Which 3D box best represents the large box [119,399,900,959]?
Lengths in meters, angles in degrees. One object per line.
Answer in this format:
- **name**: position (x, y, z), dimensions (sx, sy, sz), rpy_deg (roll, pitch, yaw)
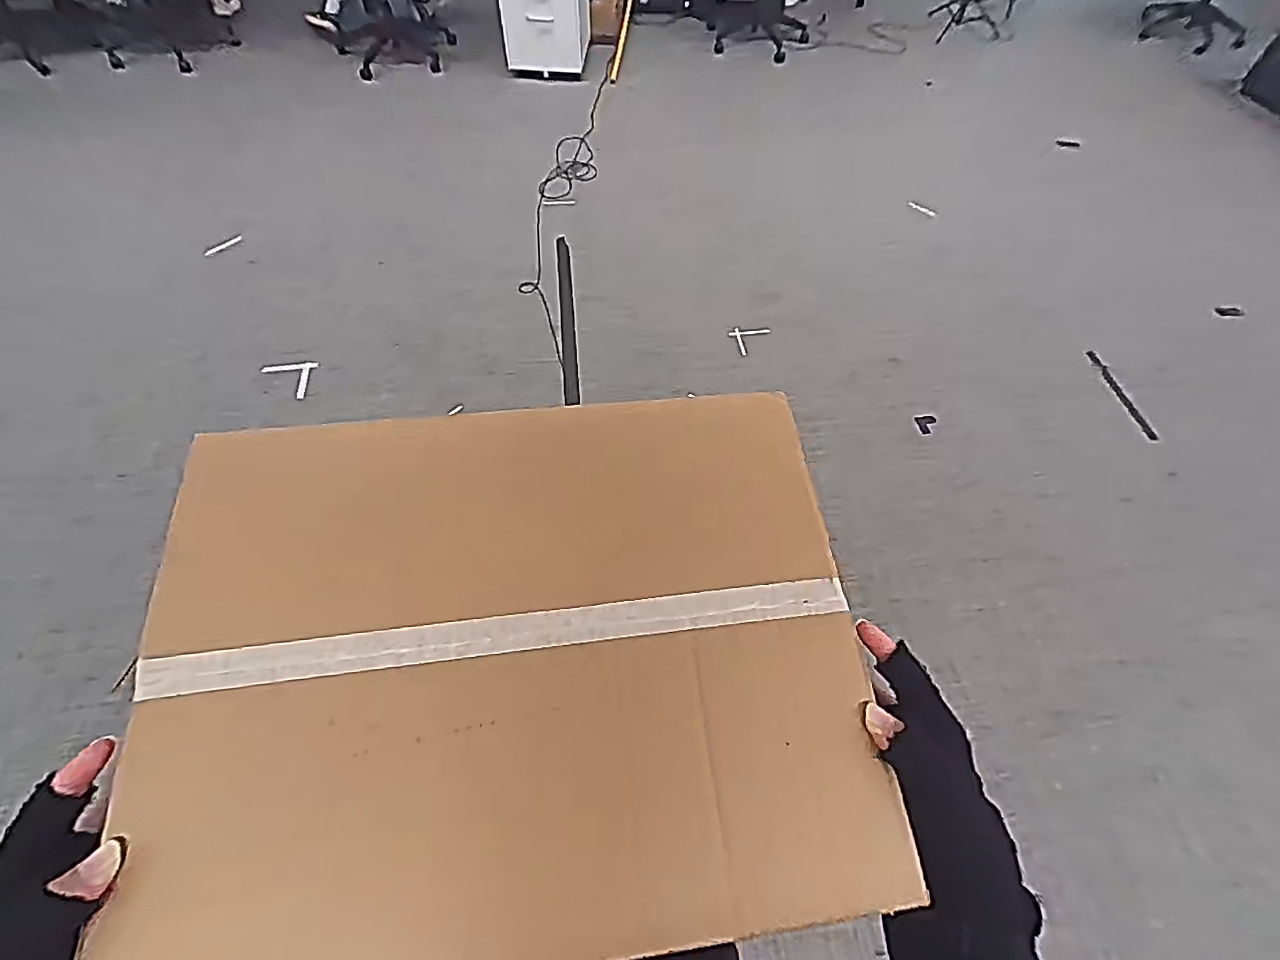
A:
- **large box**: position (-0.082, 0.158, 0.469), dimensions (0.408, 0.320, 0.320), rpy_deg (-5, 66, -6)
